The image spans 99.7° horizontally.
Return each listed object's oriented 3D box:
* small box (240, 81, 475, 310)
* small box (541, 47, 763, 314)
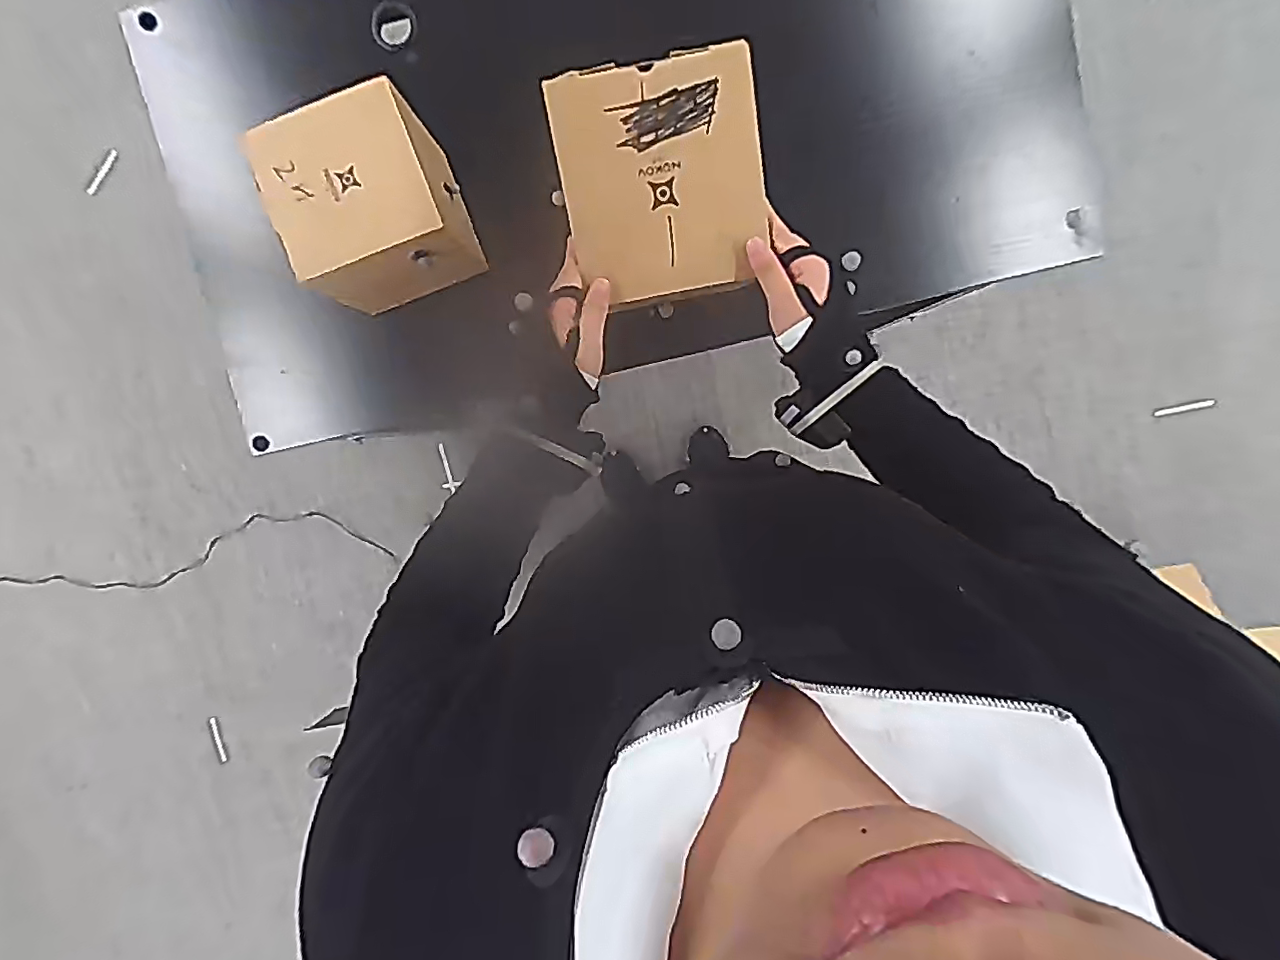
[{"bbox_3d":[-0.321,-0.328,0.662,0.179,0.176,0.168,-20,95,3],"label":"small box"},{"bbox_3d":[0.011,-0.267,0.526,0.168,0.176,0.179,-10,106,2],"label":"small box"}]
